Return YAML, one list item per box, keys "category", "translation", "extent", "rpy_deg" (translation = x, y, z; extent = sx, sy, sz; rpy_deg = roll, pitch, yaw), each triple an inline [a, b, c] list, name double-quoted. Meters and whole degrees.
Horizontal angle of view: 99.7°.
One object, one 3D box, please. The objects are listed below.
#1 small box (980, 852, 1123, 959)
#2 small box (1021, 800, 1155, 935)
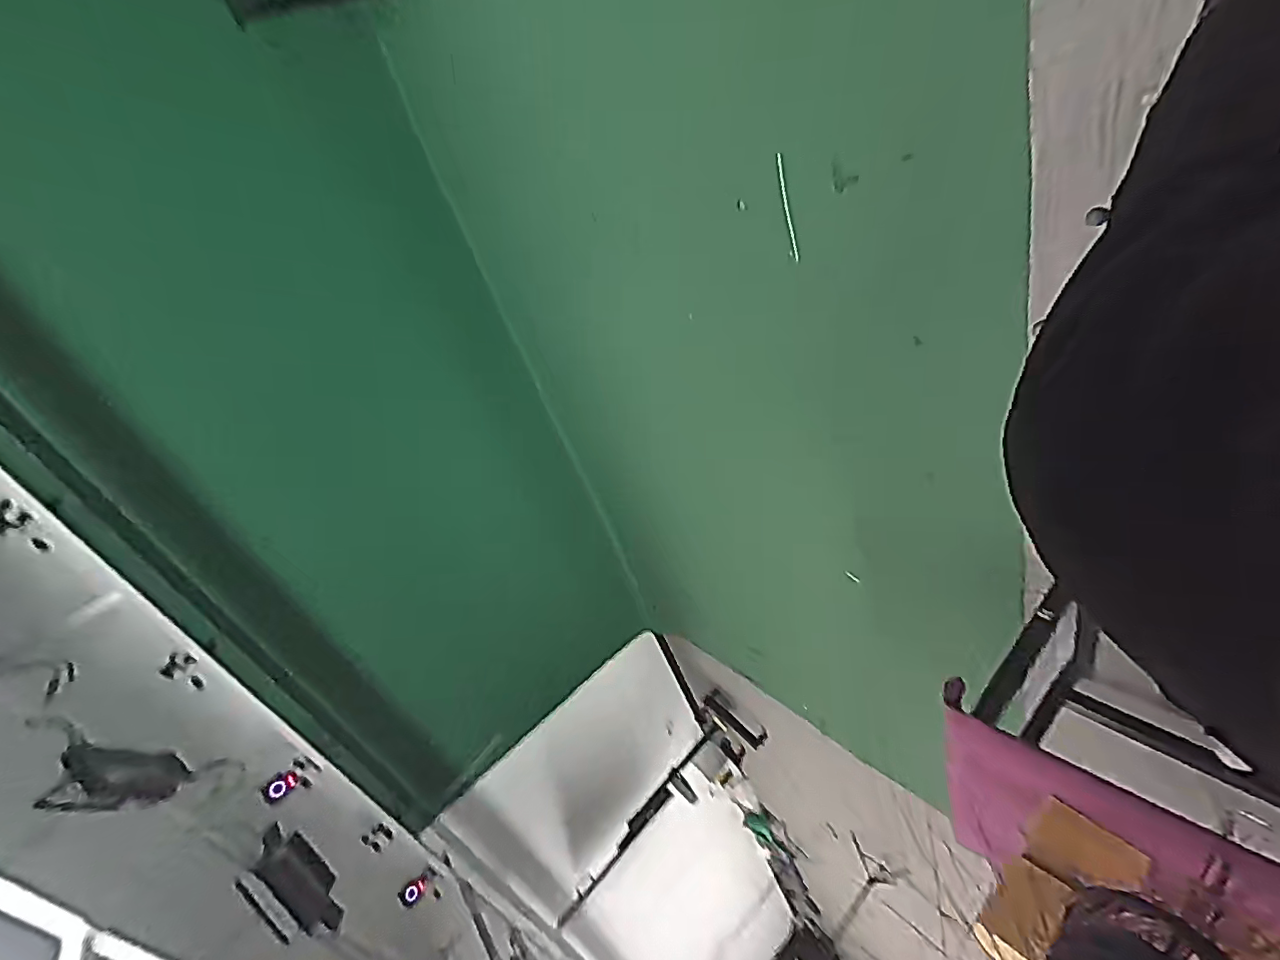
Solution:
- category: "small box"
  translation: [0.799, 0.884, 1.056]
  extent: [0.179, 0.176, 0.168]
  rpy_deg: [23, 143, 46]
- category: "small box"
  translation: [0.925, 0.815, 1.139]
  extent: [0.179, 0.176, 0.168]
  rpy_deg: [27, 146, 41]
